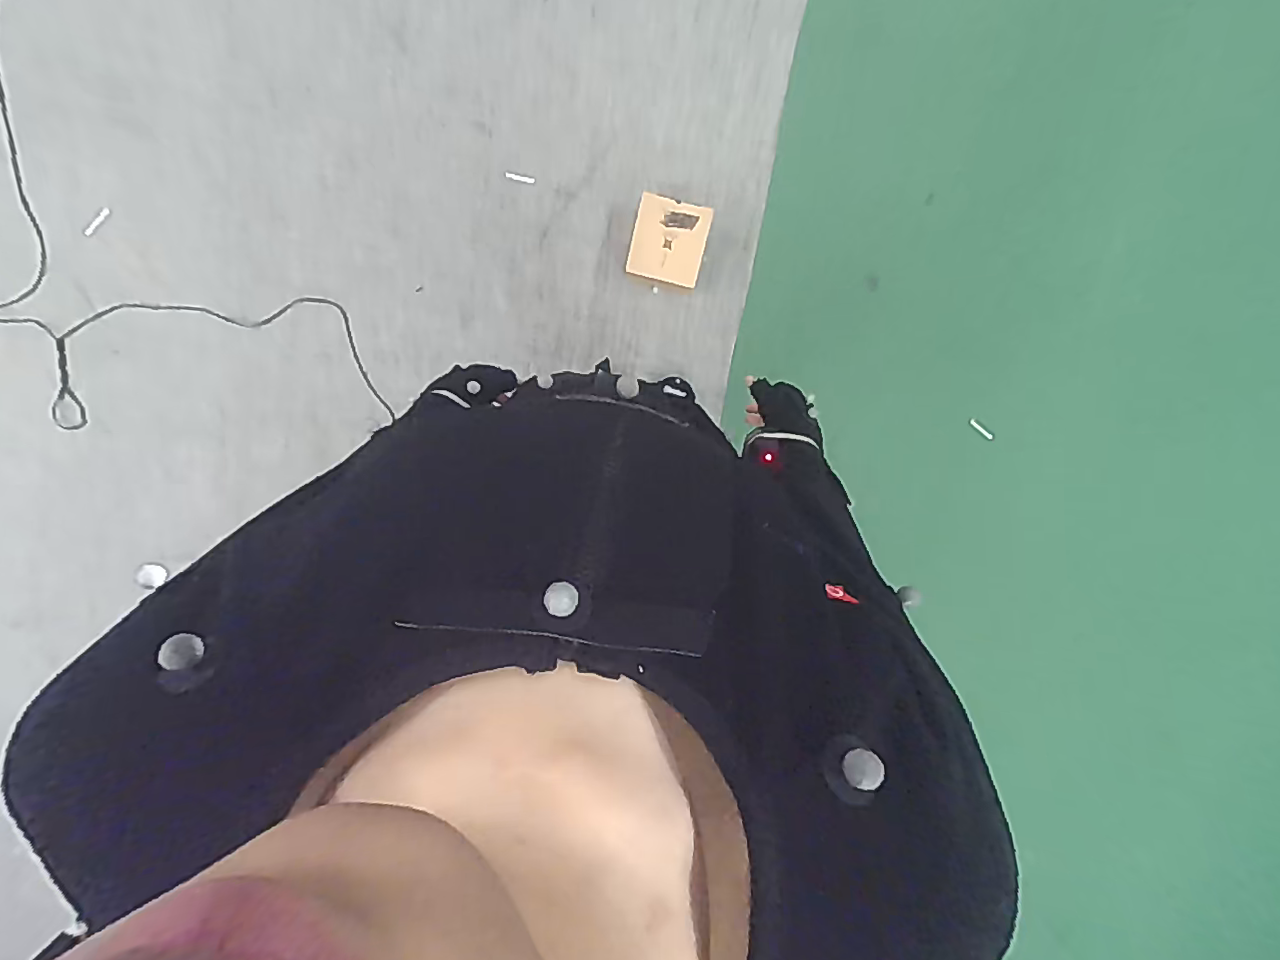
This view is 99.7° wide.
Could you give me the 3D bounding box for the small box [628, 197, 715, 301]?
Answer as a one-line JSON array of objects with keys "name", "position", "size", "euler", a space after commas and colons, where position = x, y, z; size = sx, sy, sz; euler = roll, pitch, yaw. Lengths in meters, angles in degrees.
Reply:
[{"name": "small box", "position": [0.070, -0.541, 1.292], "size": [0.168, 0.176, 0.179], "euler": [14, 102, -2]}]
